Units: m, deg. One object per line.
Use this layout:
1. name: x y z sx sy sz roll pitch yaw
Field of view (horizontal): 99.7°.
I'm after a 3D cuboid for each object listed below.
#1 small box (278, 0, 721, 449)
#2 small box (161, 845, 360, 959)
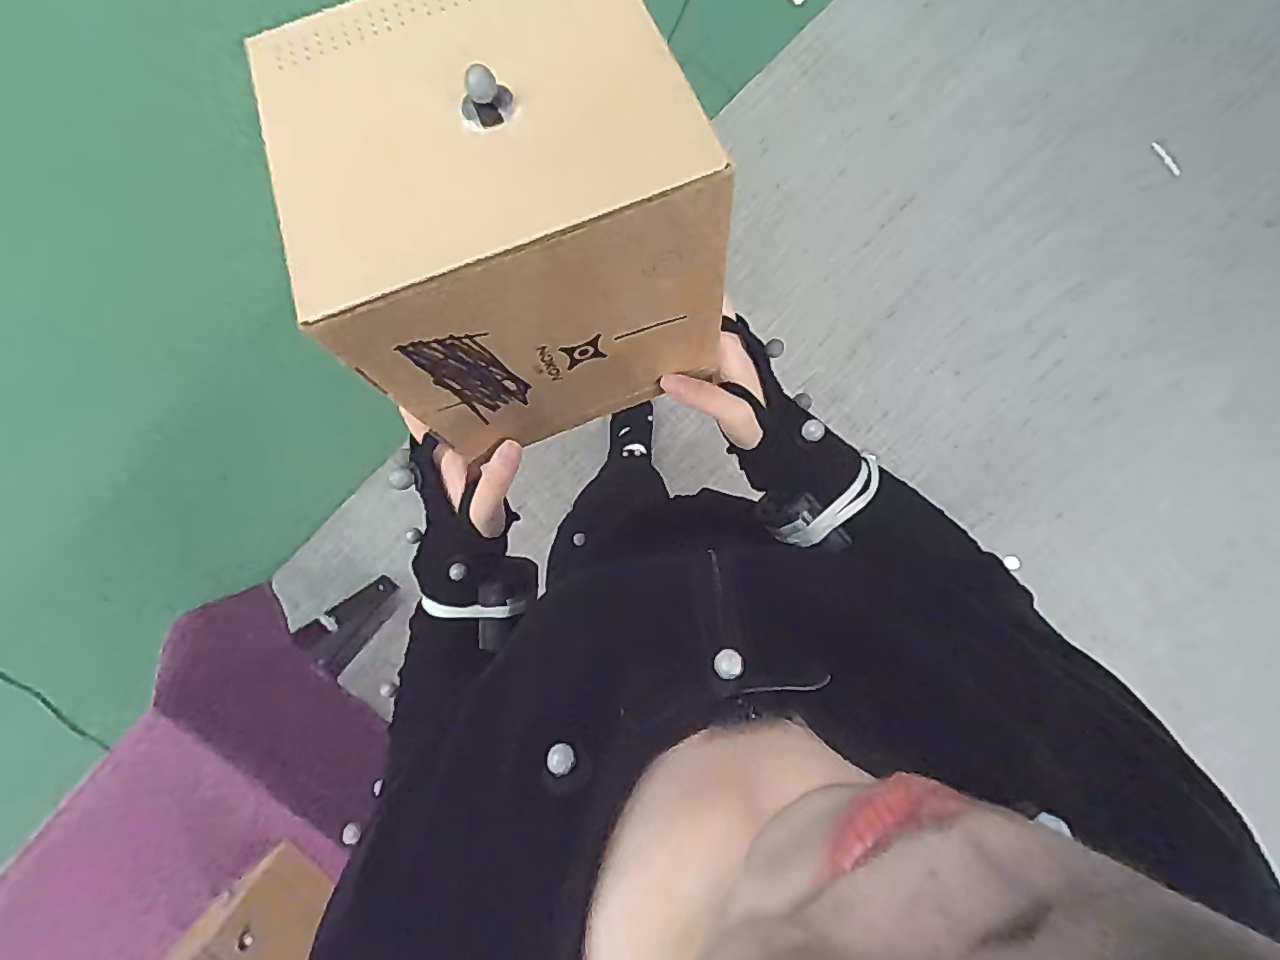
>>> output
1. small box: -0.069 -0.145 0.306 0.179 0.168 0.176 -20 72 -1
2. small box: -0.536 0.666 0.750 0.168 0.176 0.179 -41 95 5
